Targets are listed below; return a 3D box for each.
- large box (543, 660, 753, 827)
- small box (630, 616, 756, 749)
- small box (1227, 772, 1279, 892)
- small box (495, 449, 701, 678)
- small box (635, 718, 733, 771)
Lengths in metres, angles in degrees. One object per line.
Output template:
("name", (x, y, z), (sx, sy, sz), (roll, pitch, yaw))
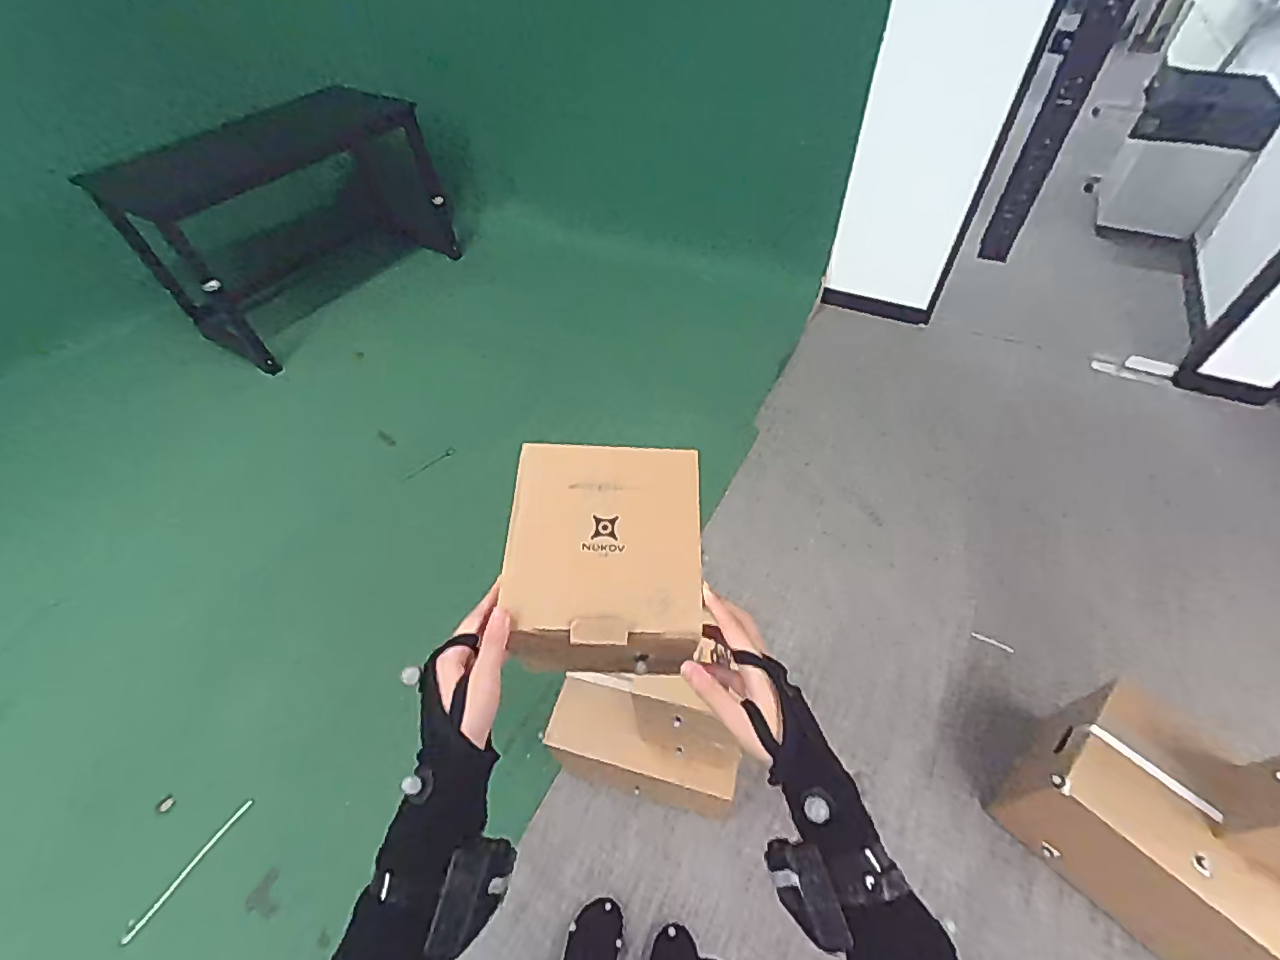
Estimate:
("large box", (0.039, 0.579, 1.282), (0.408, 0.320, 0.320), (10, 51, 13))
("small box", (0.094, 0.347, 0.938), (0.179, 0.176, 0.168), (10, 52, 13))
("small box", (1.136, 0.594, 0.883), (0.179, 0.176, 0.168), (-34, 56, -25))
("small box", (-0.031, 0.089, 0.531), (0.168, 0.176, 0.179), (3, 59, -1))
("small box", (0.103, 0.451, 1.065), (0.179, 0.176, 0.168), (14, 52, 15))
